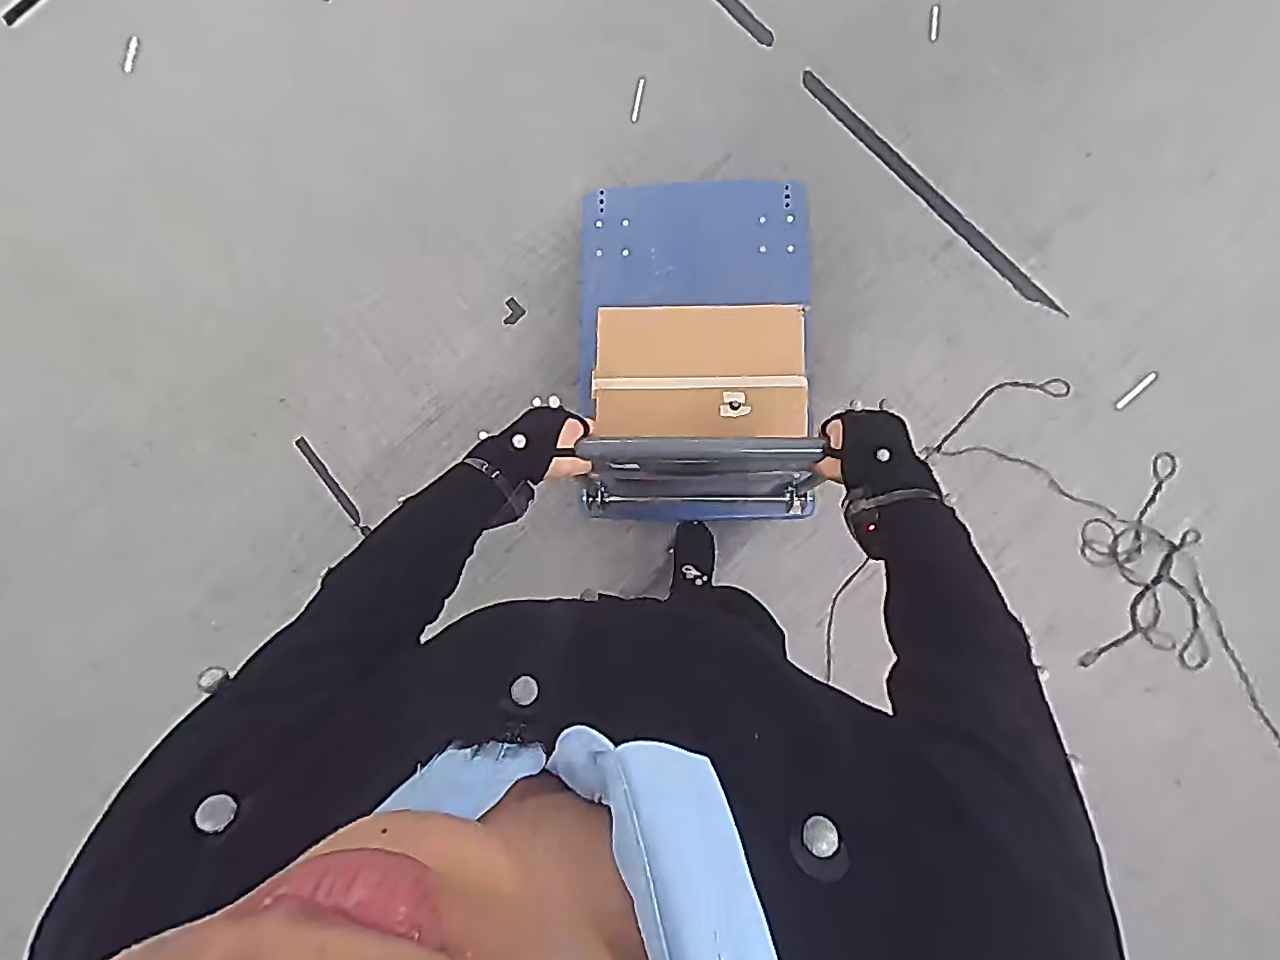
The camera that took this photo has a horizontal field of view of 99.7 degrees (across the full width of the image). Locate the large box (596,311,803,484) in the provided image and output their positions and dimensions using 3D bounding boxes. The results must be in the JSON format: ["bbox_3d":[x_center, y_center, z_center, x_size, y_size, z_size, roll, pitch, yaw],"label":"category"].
[{"bbox_3d":[0.117,-0.161,1.199,0.408,0.320,0.320,0,84,2],"label":"large box"}]
